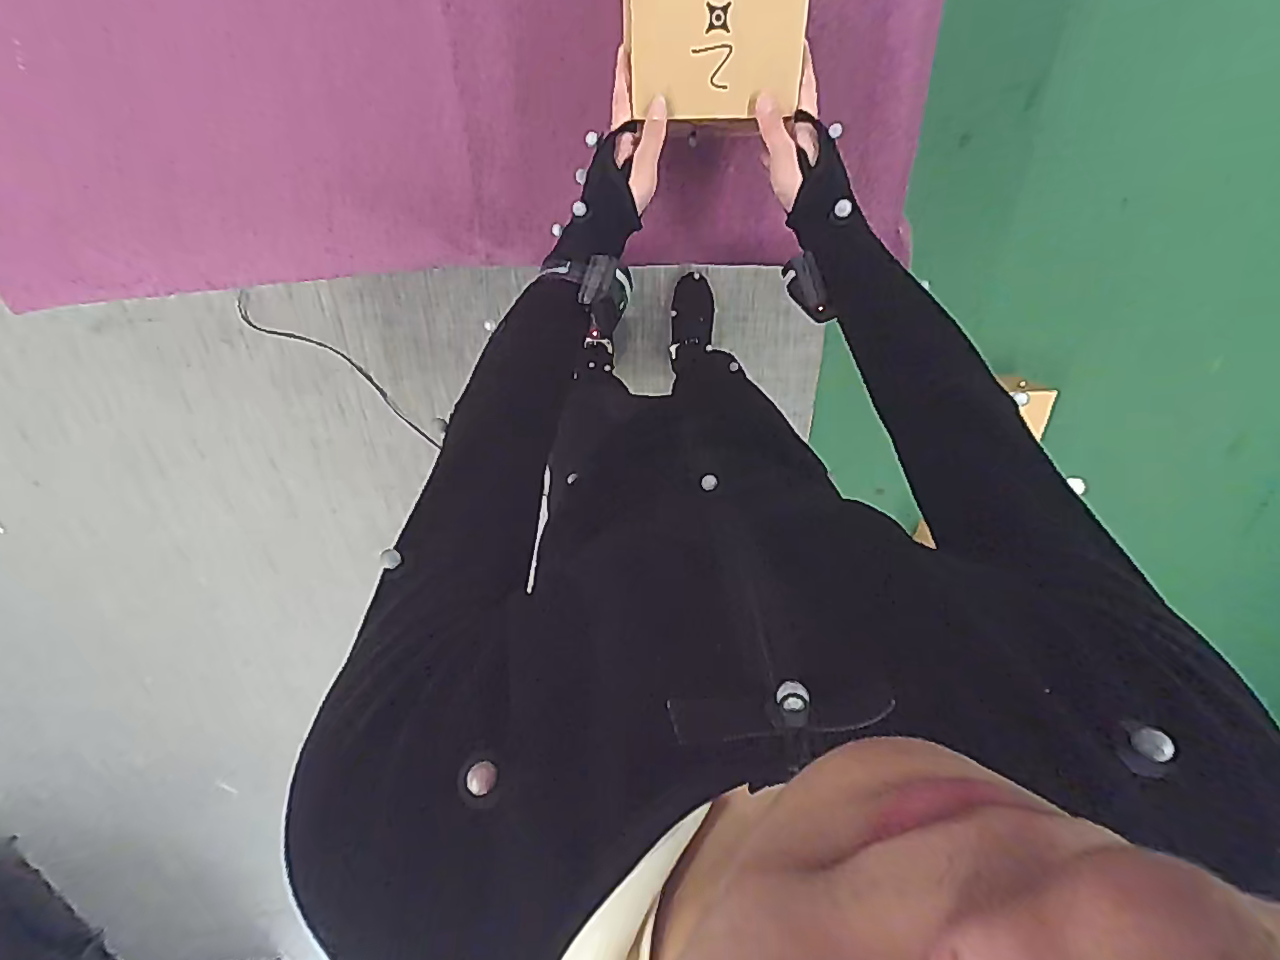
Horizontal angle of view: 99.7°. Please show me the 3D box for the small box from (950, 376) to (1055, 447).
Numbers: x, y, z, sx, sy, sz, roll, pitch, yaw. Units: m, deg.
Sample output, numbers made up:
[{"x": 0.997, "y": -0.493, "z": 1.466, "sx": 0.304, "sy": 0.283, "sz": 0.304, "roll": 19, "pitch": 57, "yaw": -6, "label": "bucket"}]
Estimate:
[{"x": 1.055, "y": -0.205, "z": 1.593, "sx": 0.179, "sy": 0.176, "sz": 0.168, "roll": -2, "pitch": 117, "yaw": -4, "label": "small box"}]
